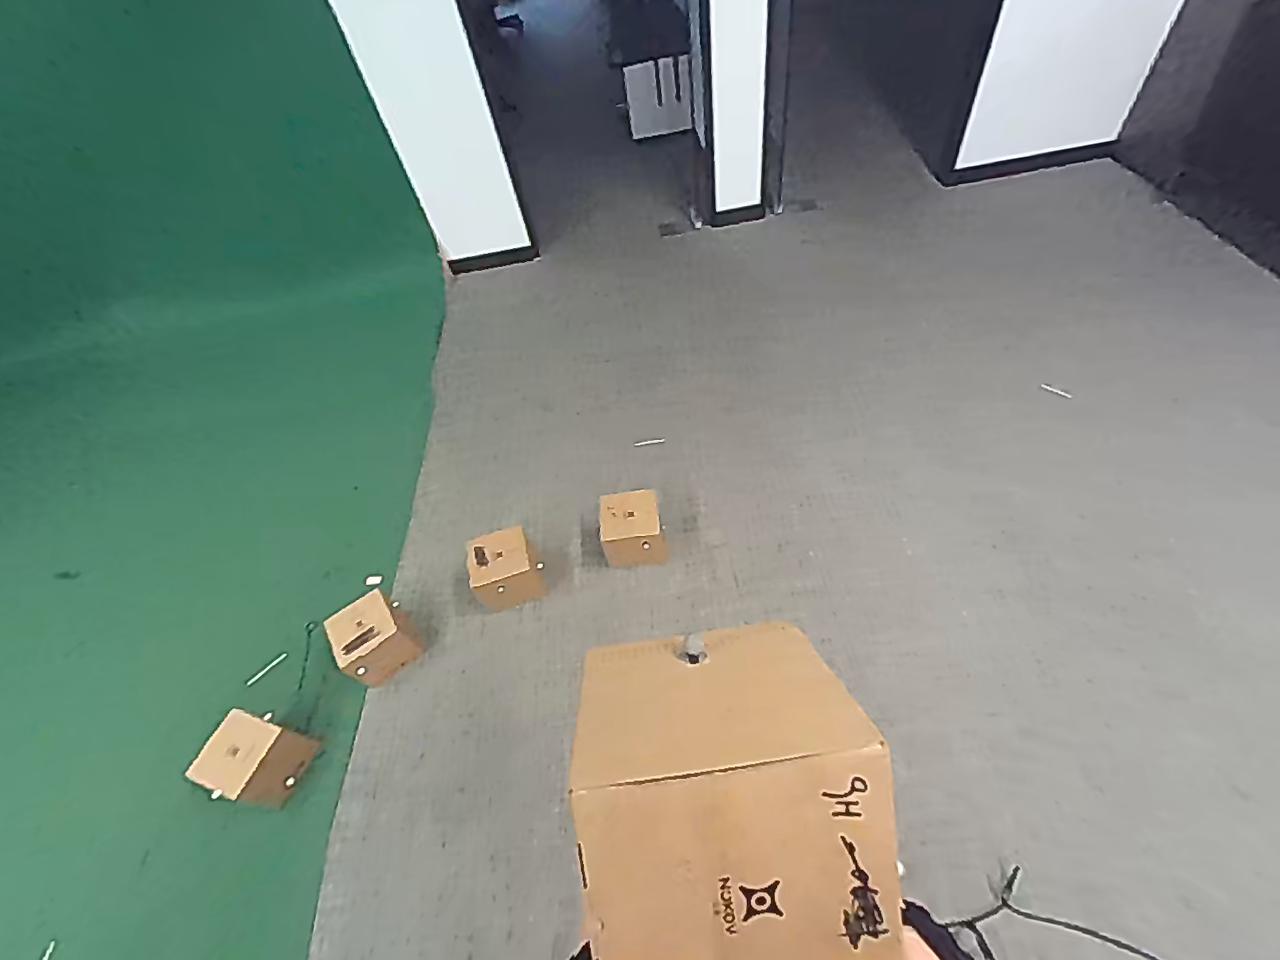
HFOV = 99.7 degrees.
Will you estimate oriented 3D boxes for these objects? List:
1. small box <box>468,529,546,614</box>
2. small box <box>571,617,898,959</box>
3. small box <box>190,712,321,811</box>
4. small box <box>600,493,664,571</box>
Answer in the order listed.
[{"bbox_3d":[-0.401,0.281,1.633,0.179,0.176,0.168,-17,51,-5],"label":"small box"},{"bbox_3d":[0.056,0.213,0.387,0.179,0.168,0.176,-7,8,0],"label":"small box"},{"bbox_3d":[-0.976,0.724,1.387,0.179,0.176,0.168,11,55,18],"label":"small box"},{"bbox_3d":[-0.021,0.163,1.659,0.179,0.176,0.168,-8,50,4],"label":"small box"}]
